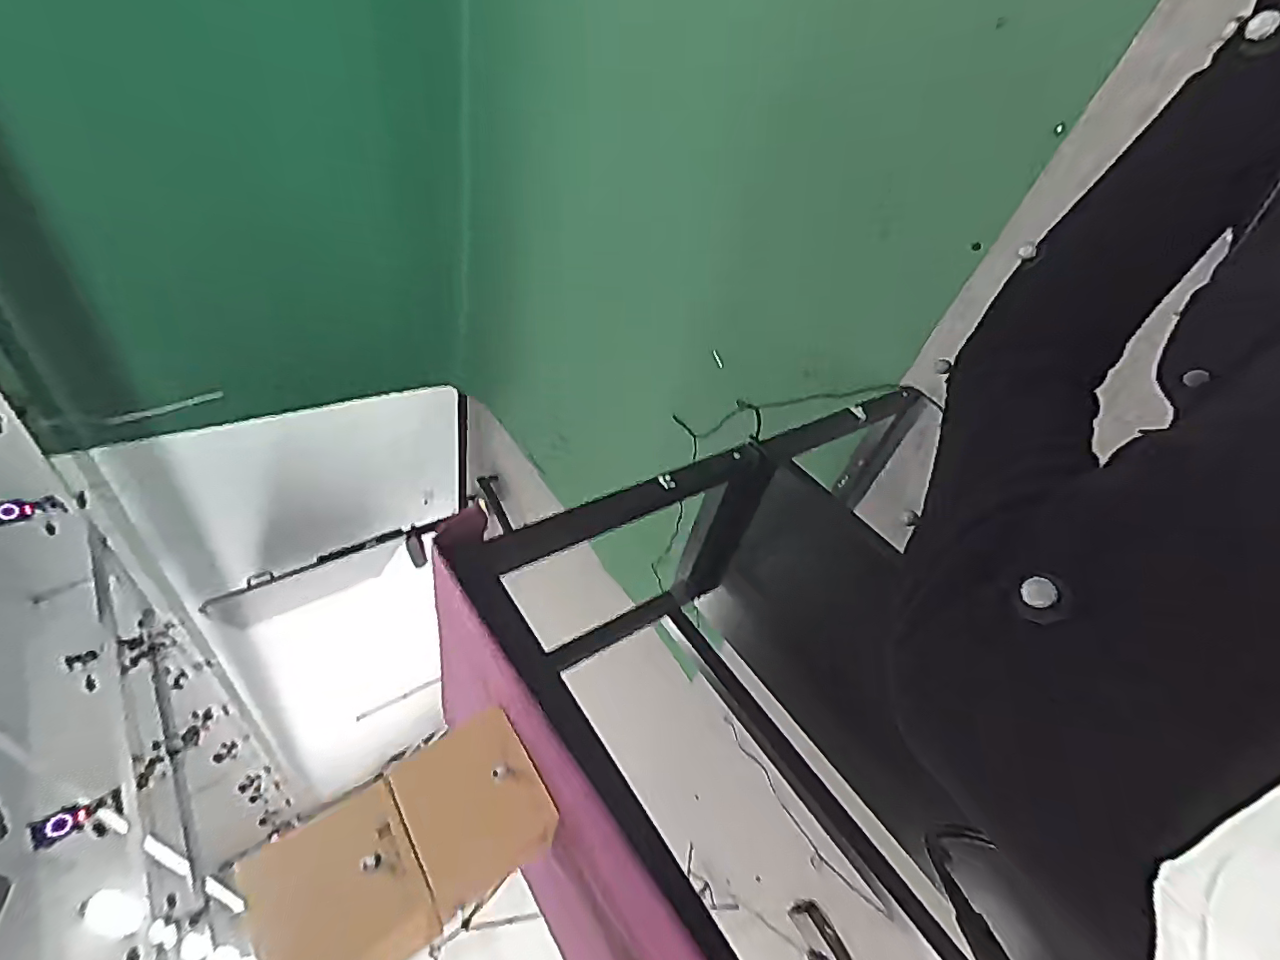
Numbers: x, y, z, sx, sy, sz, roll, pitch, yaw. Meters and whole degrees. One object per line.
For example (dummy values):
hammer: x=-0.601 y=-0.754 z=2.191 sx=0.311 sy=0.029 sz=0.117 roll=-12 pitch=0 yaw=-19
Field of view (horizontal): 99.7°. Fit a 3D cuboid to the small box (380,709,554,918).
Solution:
small box: x=-0.239 y=0.449 z=0.753 sx=0.179 sy=0.176 sz=0.168 roll=48 pitch=142 yaw=31
